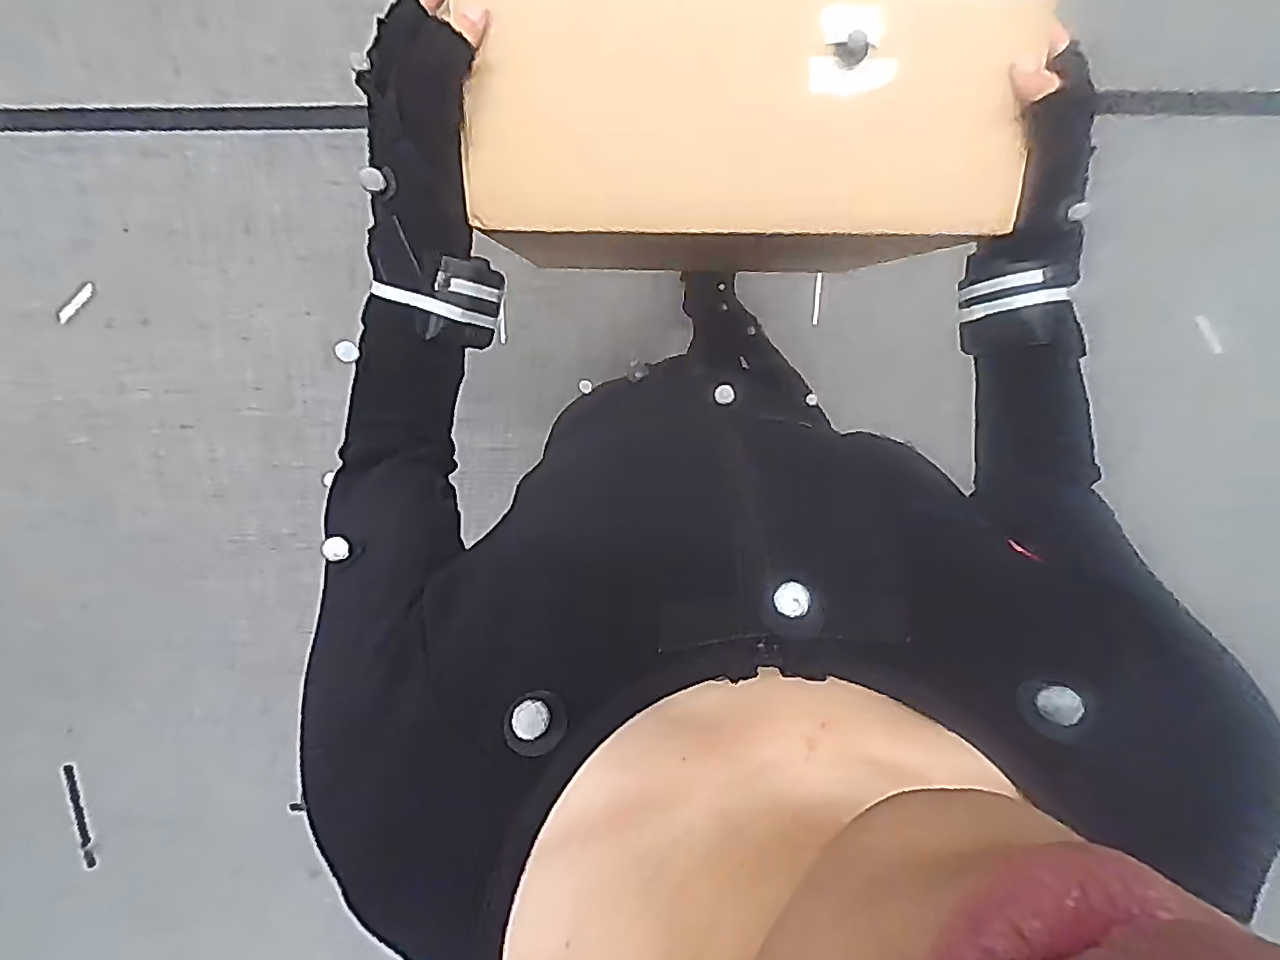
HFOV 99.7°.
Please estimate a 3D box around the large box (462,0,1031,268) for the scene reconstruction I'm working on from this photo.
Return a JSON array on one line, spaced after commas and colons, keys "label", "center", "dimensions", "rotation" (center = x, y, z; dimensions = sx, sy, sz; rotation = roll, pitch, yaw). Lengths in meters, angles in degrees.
[{"label": "large box", "center": [0.069, -0.387, 0.513], "dimensions": [0.408, 0.320, 0.320], "rotation": [-1, 106, -2]}]
